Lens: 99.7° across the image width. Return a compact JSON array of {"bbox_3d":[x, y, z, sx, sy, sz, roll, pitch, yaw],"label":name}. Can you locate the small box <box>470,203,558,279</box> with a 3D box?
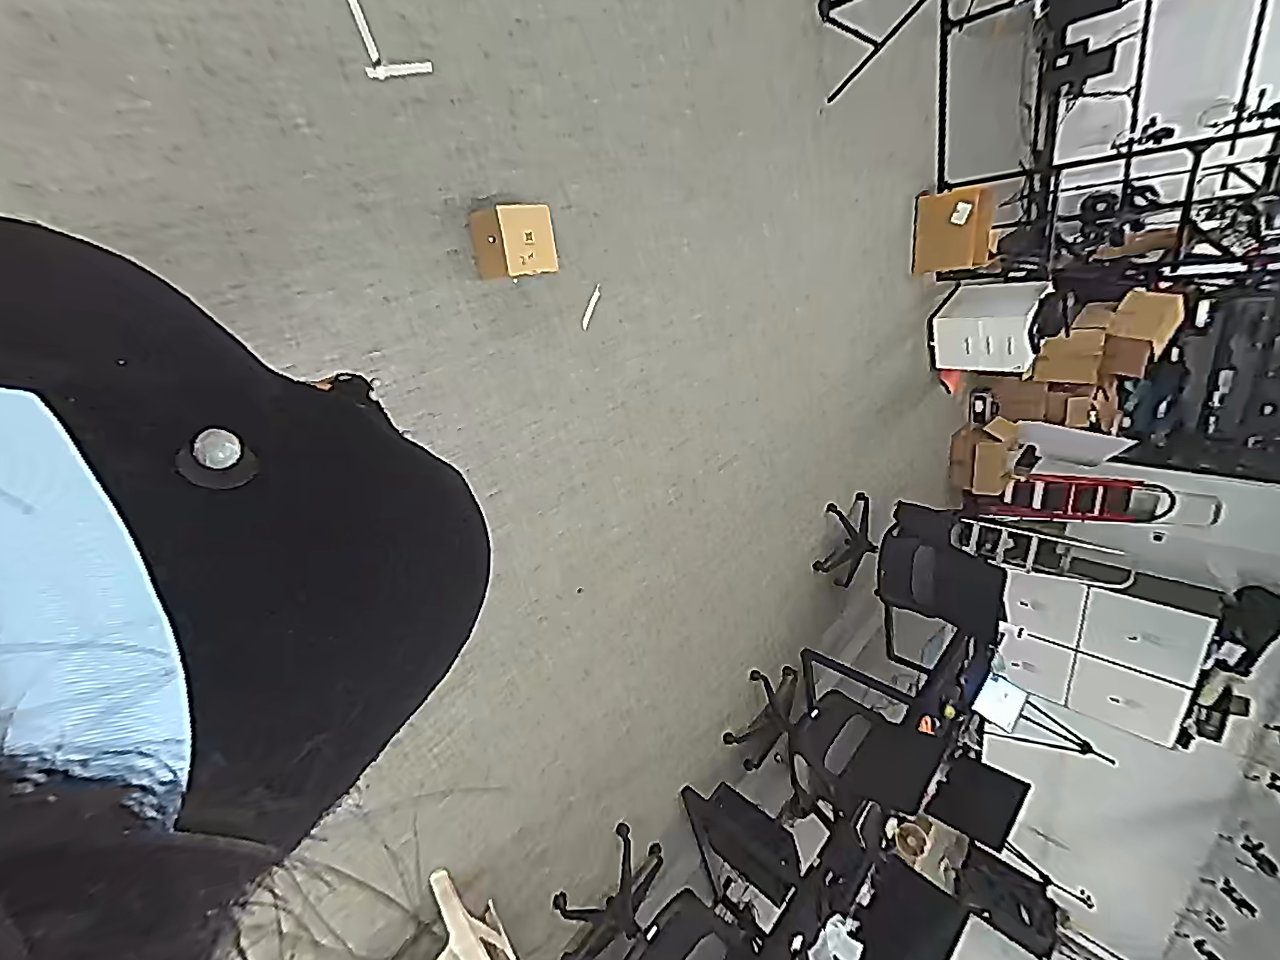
[{"bbox_3d":[-0.358,-0.671,1.524,0.168,0.176,0.179,-23,117,-37],"label":"small box"}]
